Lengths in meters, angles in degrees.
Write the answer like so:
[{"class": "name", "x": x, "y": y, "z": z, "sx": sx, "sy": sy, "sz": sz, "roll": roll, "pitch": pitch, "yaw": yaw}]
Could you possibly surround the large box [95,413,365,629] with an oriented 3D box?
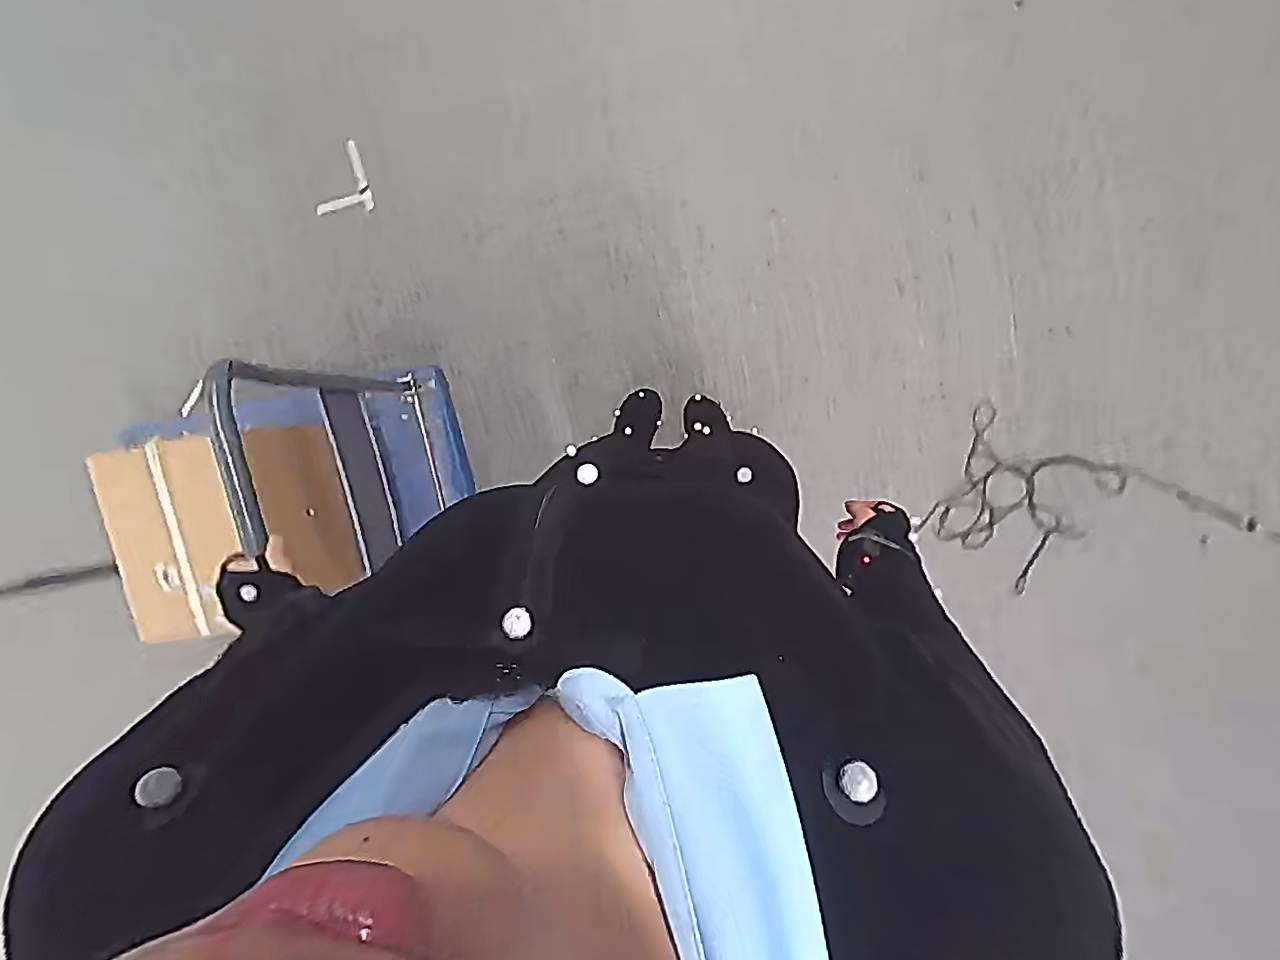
[{"class": "large box", "x": -0.898, "y": 0.074, "z": 1.241, "sx": 0.320, "sy": 0.320, "sz": 0.408, "roll": -8, "pitch": 99, "yaw": 6}]
